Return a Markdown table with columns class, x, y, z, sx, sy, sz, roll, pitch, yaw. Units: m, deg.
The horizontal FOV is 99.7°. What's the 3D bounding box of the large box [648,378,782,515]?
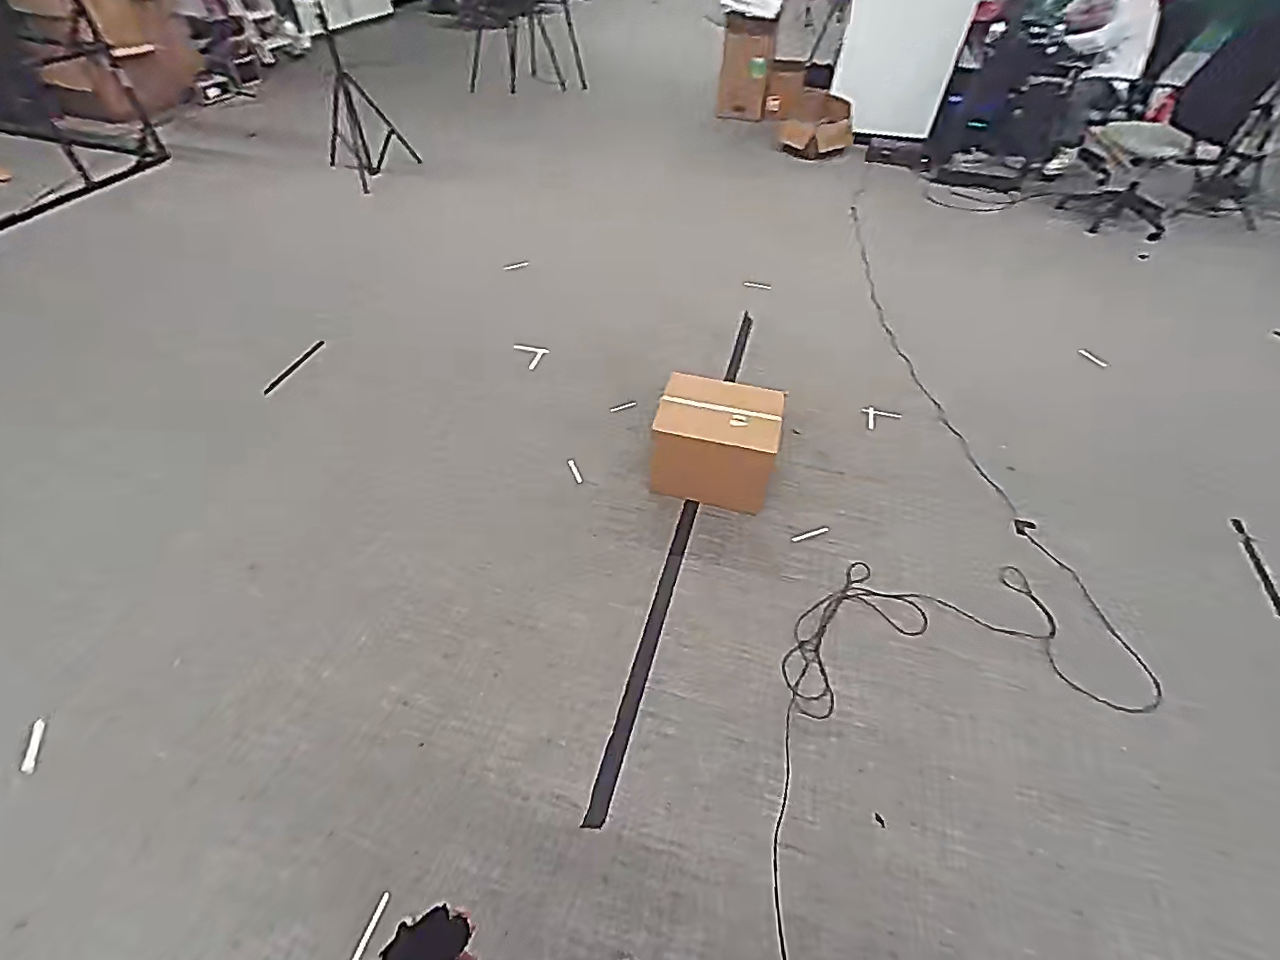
| class | x | y | z | sx | sy | sz | roll | pitch | yaw |
| --- | --- | --- | --- | --- | --- | --- | --- | --- | --- |
| large box | 0.258 | -0.119 | 1.912 | 0.408 | 0.320 | 0.320 | 13 | 50 | 8 |
